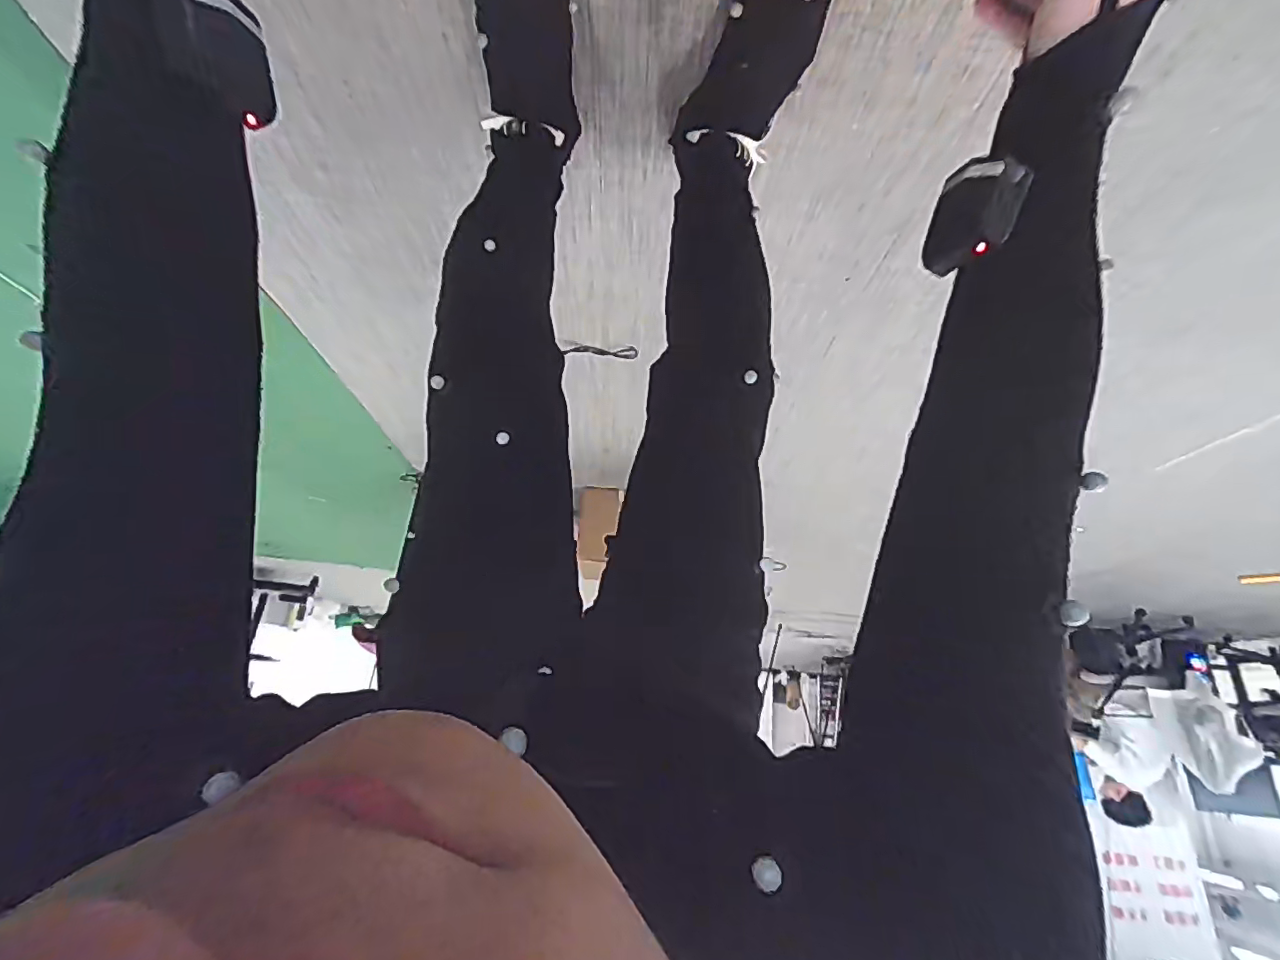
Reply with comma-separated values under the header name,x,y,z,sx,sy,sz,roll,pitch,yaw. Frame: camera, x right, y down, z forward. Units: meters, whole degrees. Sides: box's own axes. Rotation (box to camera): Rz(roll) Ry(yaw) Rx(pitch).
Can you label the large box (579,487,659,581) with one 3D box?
name,x,y,z,sx,sy,sz,roll,pitch,yaw
large box,-0.078,0.244,2.380,0.320,0.320,0.408,5,159,2
